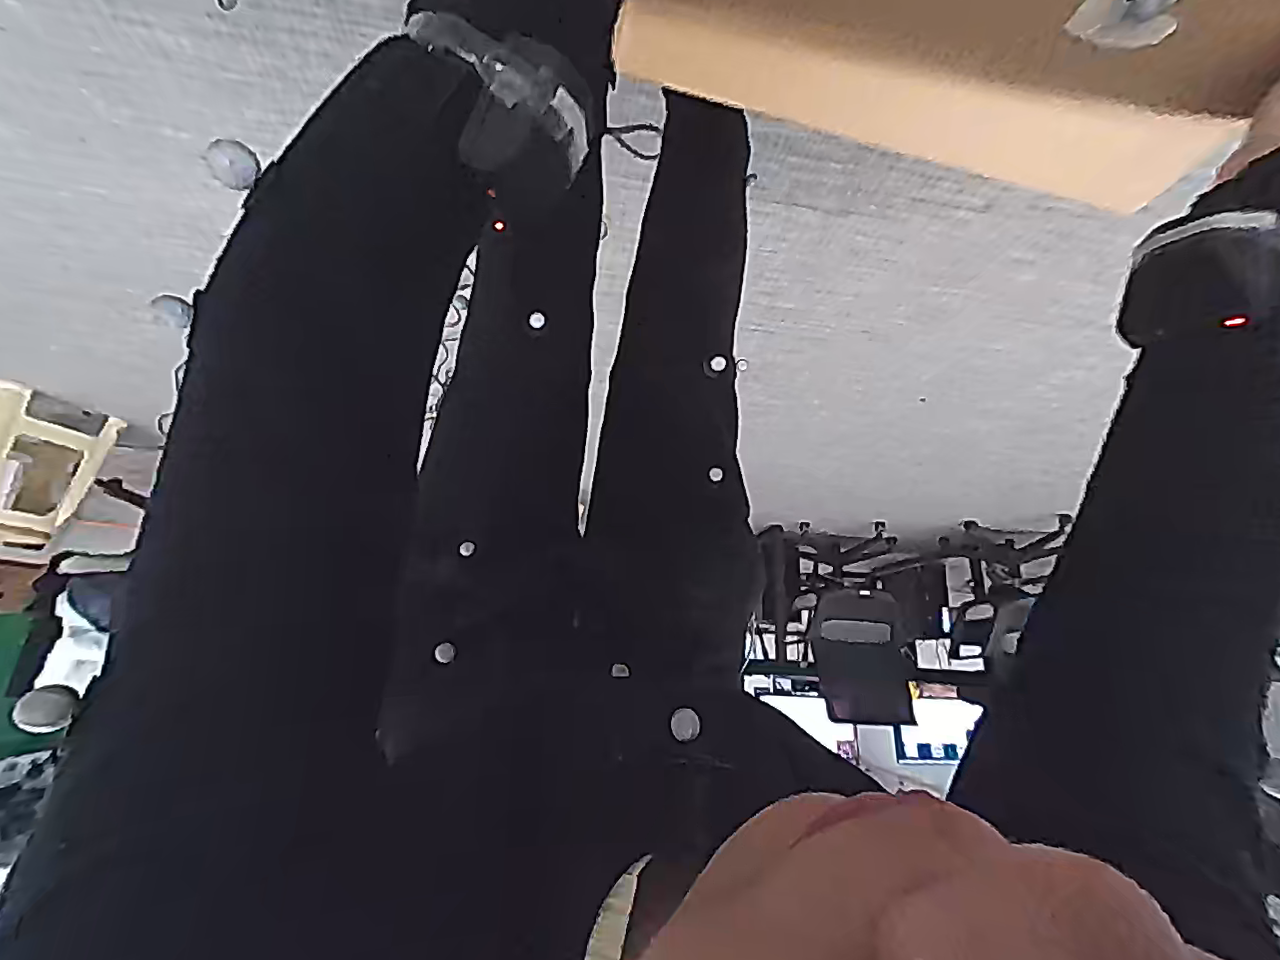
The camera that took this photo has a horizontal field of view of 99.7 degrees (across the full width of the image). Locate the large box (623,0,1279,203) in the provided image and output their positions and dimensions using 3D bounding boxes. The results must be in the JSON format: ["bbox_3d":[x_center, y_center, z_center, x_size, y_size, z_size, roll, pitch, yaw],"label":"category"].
[{"bbox_3d":[0.214,-0.430,0.308,0.408,0.320,0.320,6,158,-12],"label":"large box"}]
